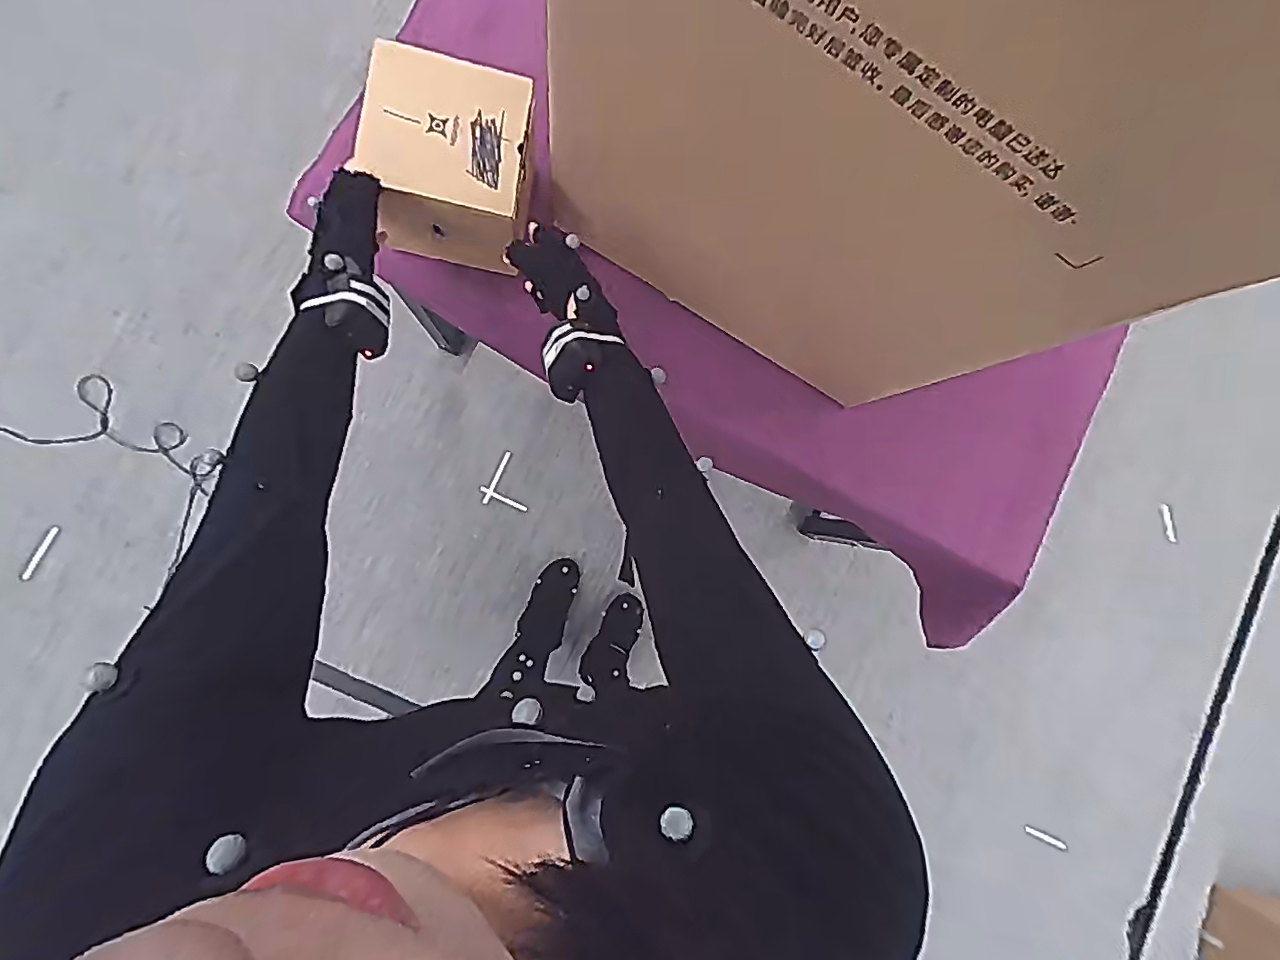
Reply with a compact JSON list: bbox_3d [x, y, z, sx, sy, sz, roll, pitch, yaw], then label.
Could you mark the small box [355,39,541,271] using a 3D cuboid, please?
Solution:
[{"bbox_3d":[-0.224,-0.383,0.675,0.179,0.176,0.168,9,86,-10],"label":"small box"}]
